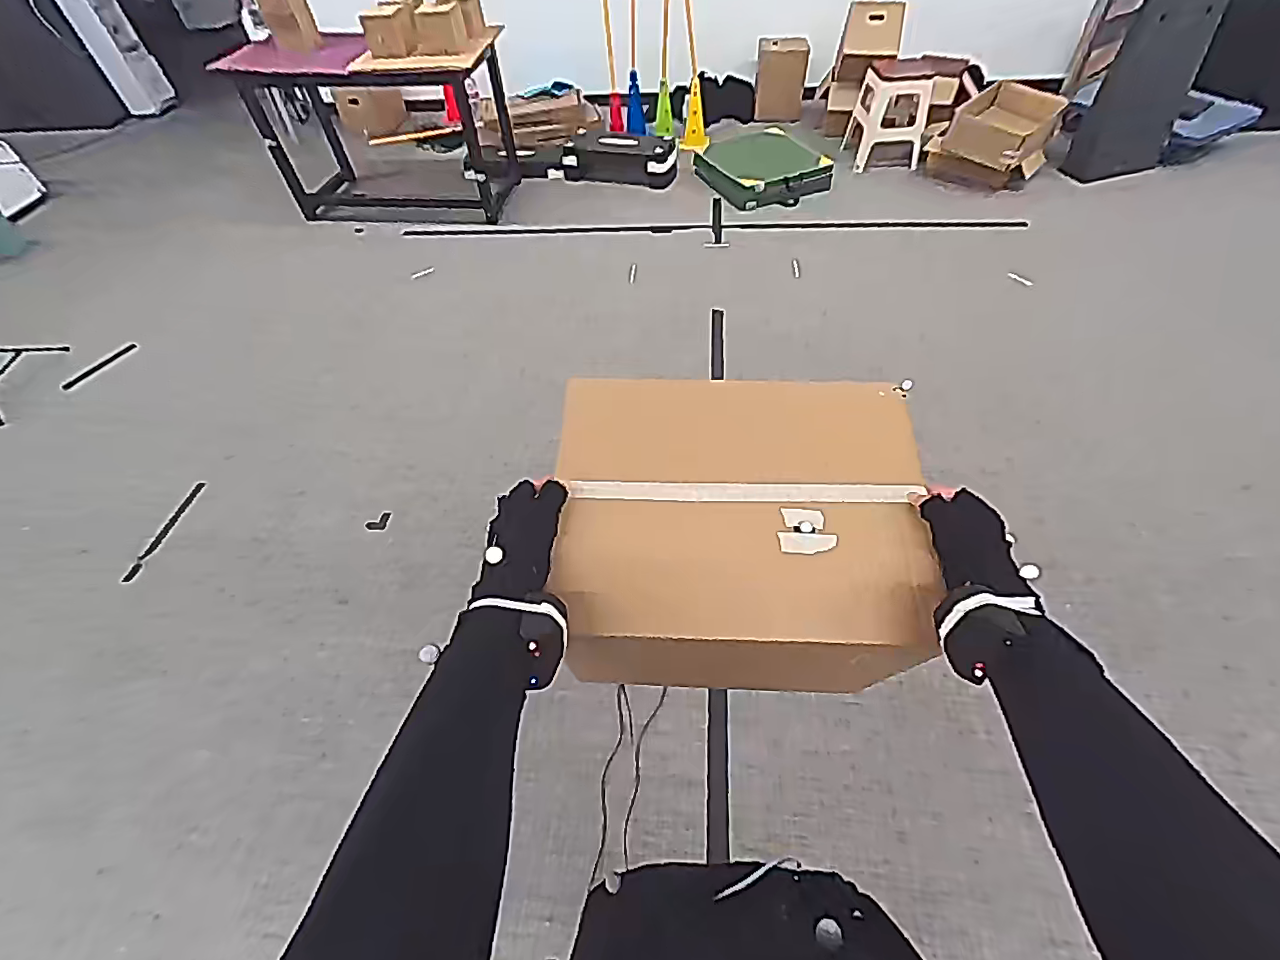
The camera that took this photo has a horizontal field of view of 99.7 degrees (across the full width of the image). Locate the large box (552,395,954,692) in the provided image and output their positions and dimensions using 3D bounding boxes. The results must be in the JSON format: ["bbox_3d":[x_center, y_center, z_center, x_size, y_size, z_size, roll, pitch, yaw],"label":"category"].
[{"bbox_3d":[0.113,0.101,0.731,0.408,0.320,0.320,1,61,2],"label":"large box"}]
